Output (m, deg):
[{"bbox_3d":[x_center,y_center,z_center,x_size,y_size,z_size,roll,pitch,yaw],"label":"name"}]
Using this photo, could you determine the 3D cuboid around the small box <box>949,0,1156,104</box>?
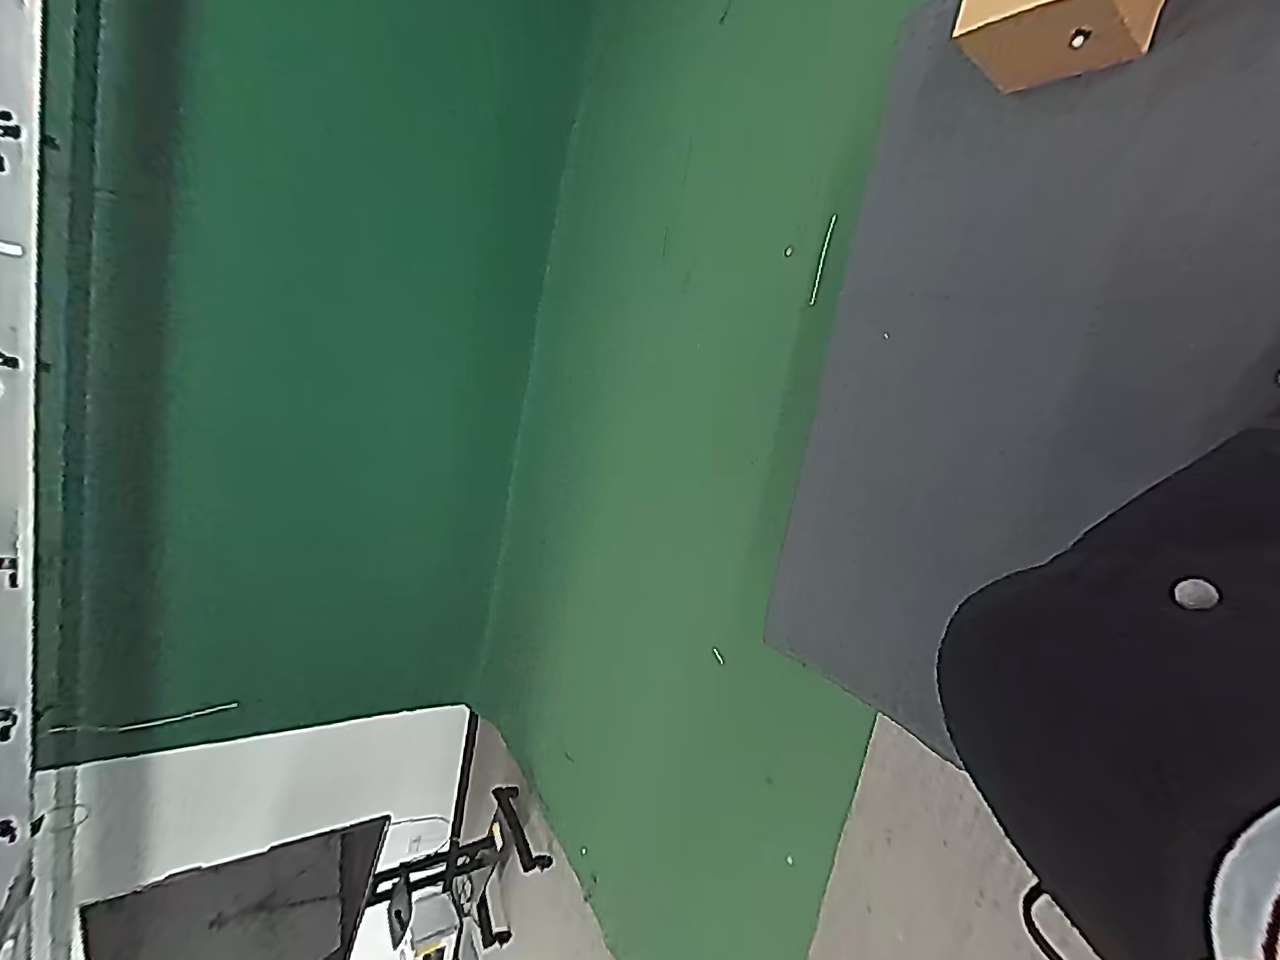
[{"bbox_3d":[0.560,-0.644,0.716,0.179,0.176,0.168,27,106,54],"label":"small box"}]
